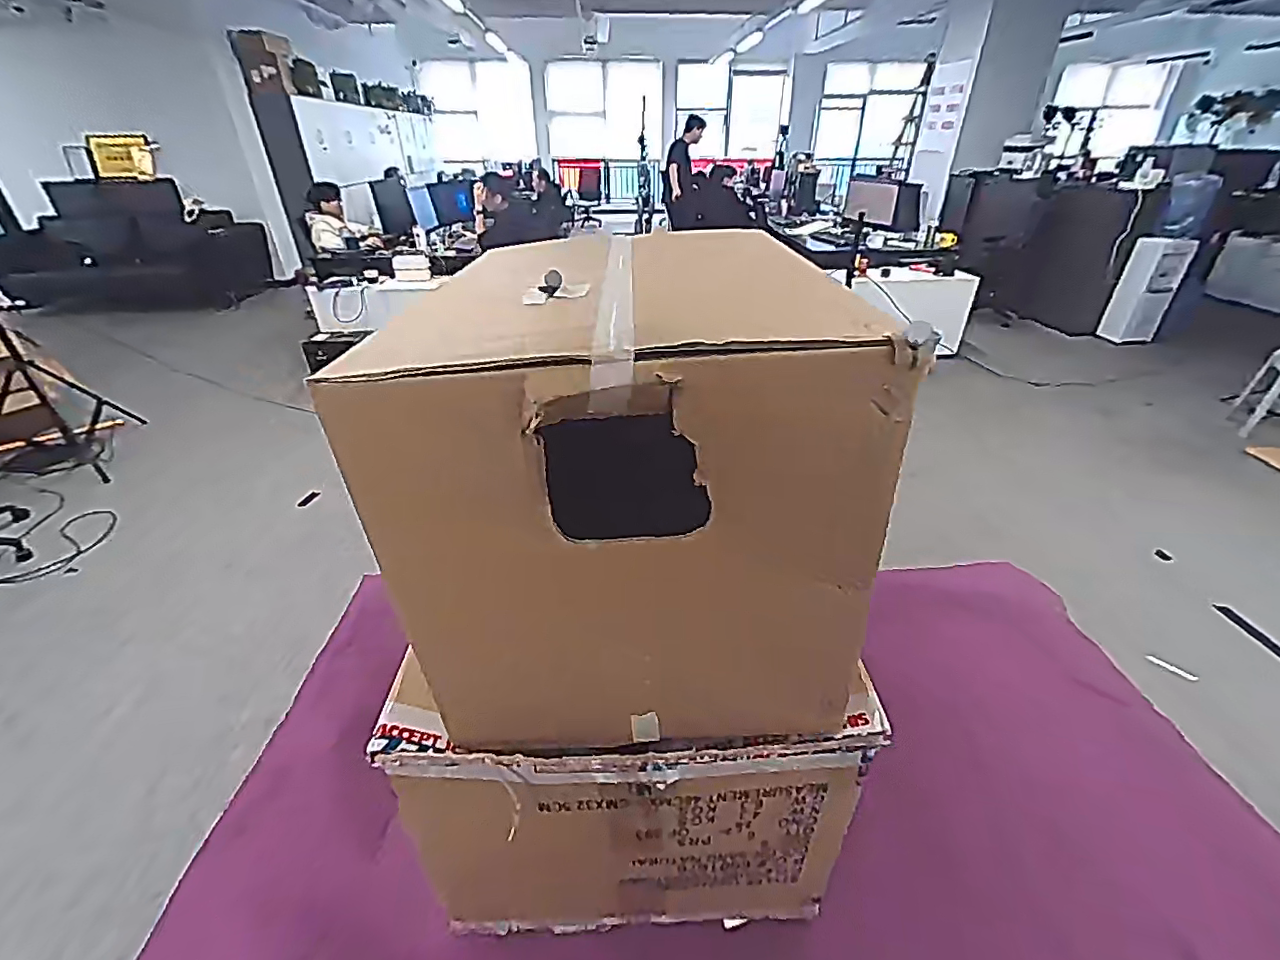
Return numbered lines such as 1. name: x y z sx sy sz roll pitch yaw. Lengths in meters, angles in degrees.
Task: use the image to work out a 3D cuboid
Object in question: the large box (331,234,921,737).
1. large box: -0.007 -0.033 0.519 0.320 0.320 0.408 -5 32 1
